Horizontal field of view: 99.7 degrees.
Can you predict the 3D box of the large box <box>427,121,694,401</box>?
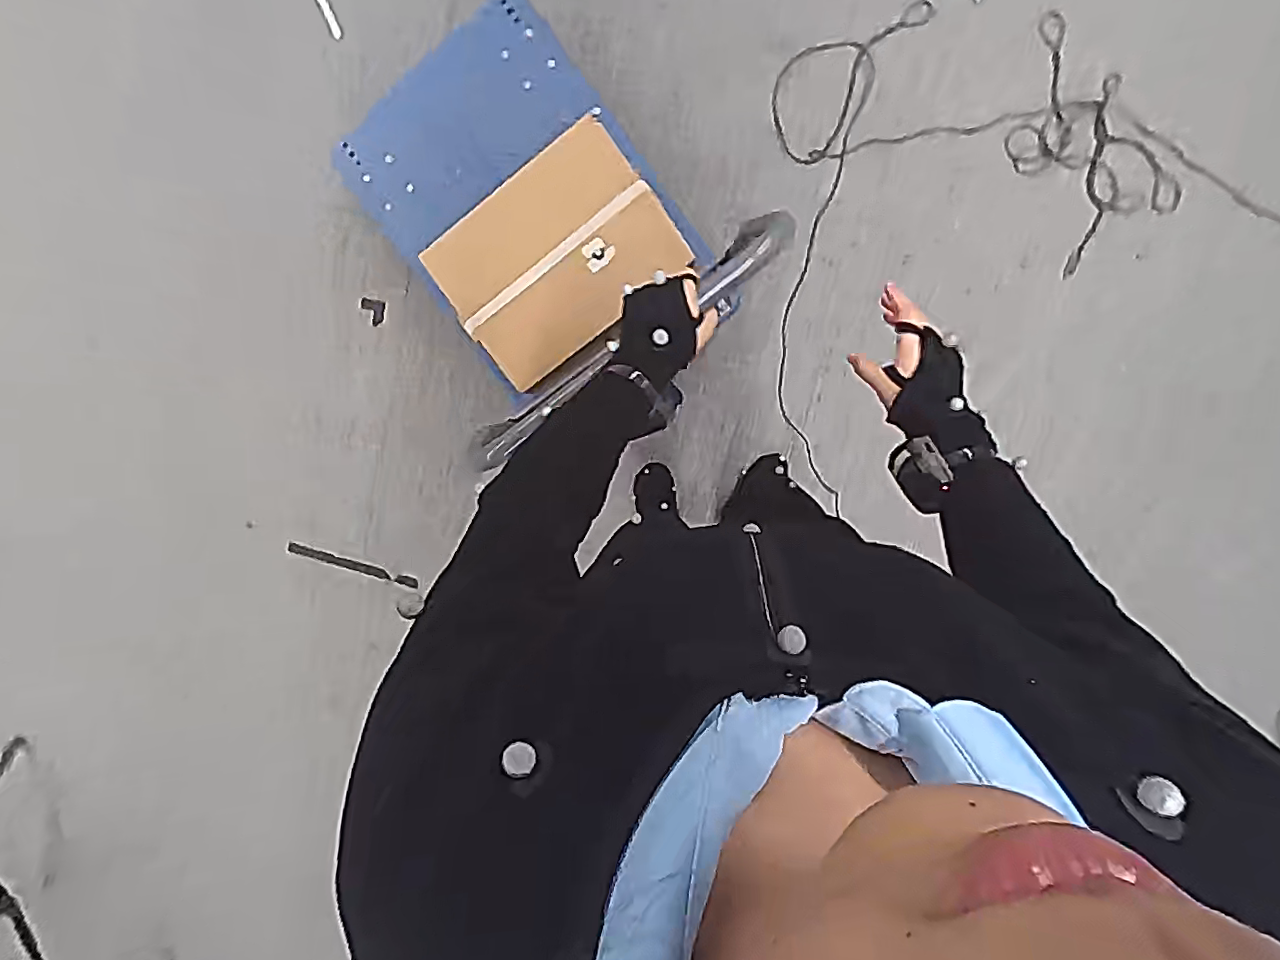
[{"bbox_3d":[-0.141,-0.407,1.121,0.408,0.320,0.320,-36,95,6],"label":"large box"}]
